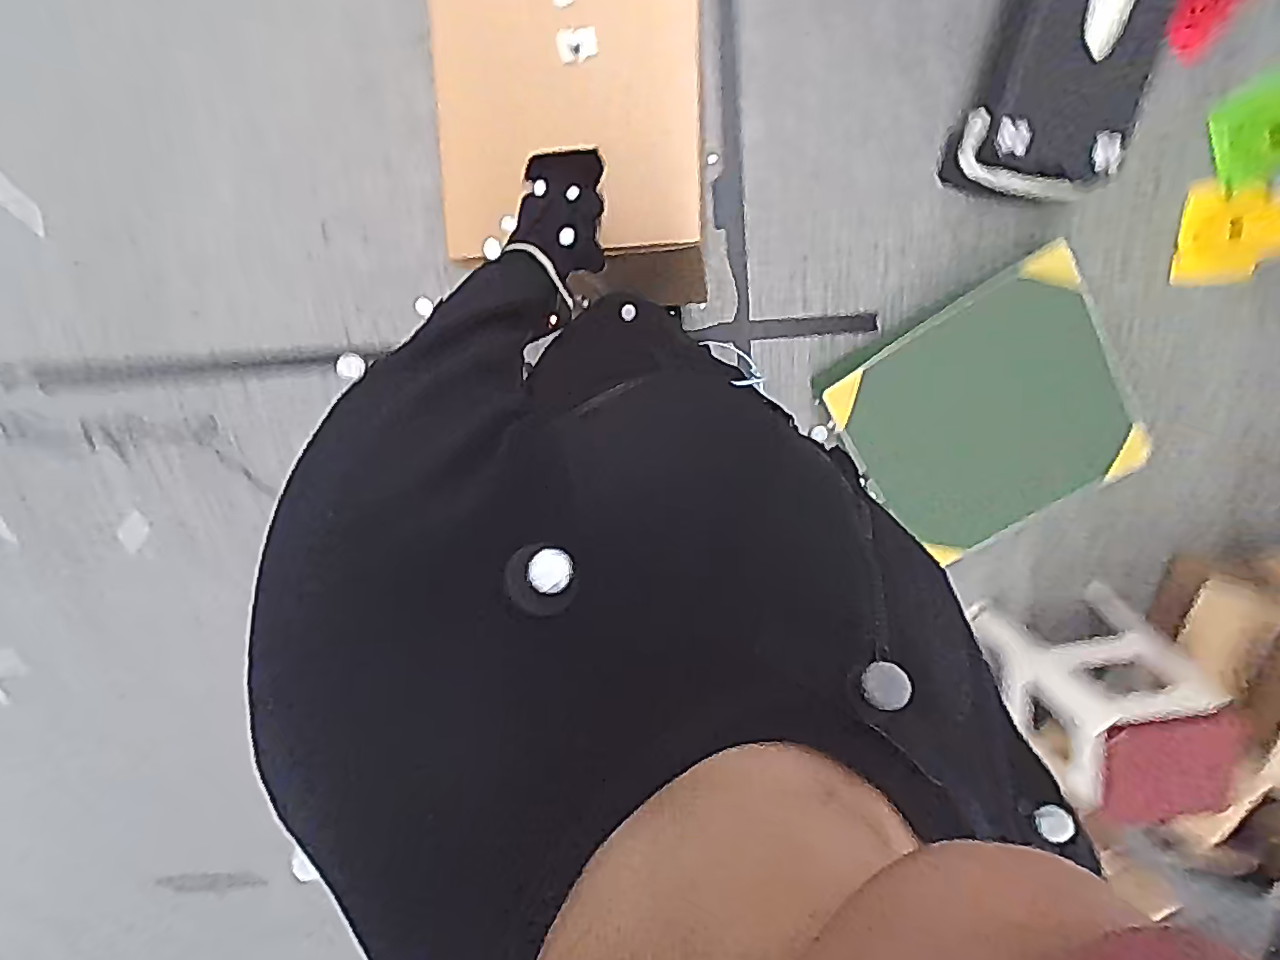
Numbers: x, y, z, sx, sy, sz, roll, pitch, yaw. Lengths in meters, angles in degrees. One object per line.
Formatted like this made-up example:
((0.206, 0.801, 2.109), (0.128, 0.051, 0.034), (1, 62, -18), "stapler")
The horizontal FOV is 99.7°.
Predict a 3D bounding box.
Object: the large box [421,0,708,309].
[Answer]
((-0.068, -0.454, 0.818), (0.320, 0.408, 0.320), (0, 100, 10), "large box")
